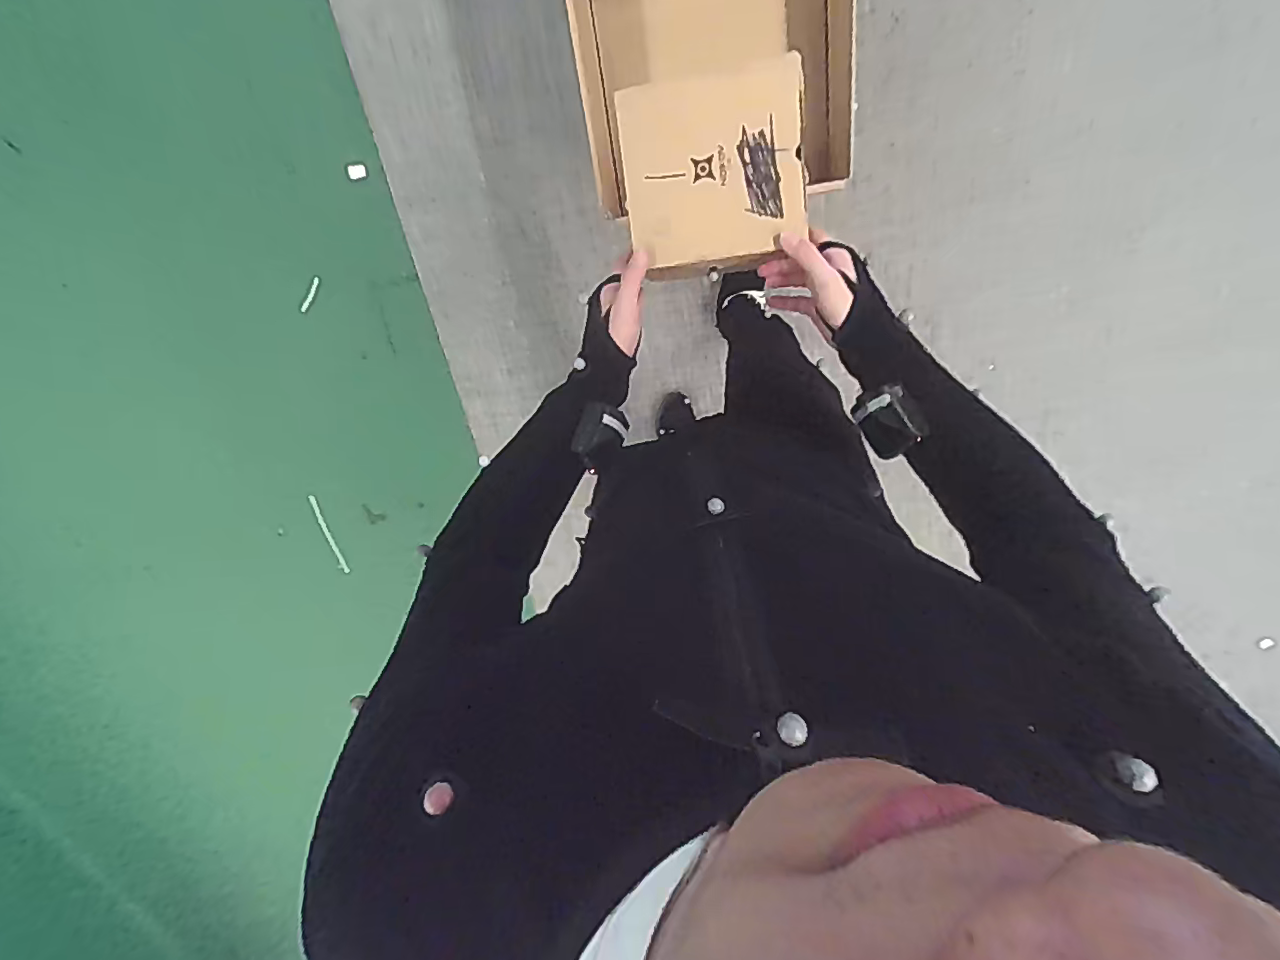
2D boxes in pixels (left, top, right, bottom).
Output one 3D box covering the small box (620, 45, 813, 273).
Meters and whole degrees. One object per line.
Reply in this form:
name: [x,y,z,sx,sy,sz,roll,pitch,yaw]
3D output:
small box: [0.085,-0.330,0.594,0.179,0.176,0.168,-5,105,10]
